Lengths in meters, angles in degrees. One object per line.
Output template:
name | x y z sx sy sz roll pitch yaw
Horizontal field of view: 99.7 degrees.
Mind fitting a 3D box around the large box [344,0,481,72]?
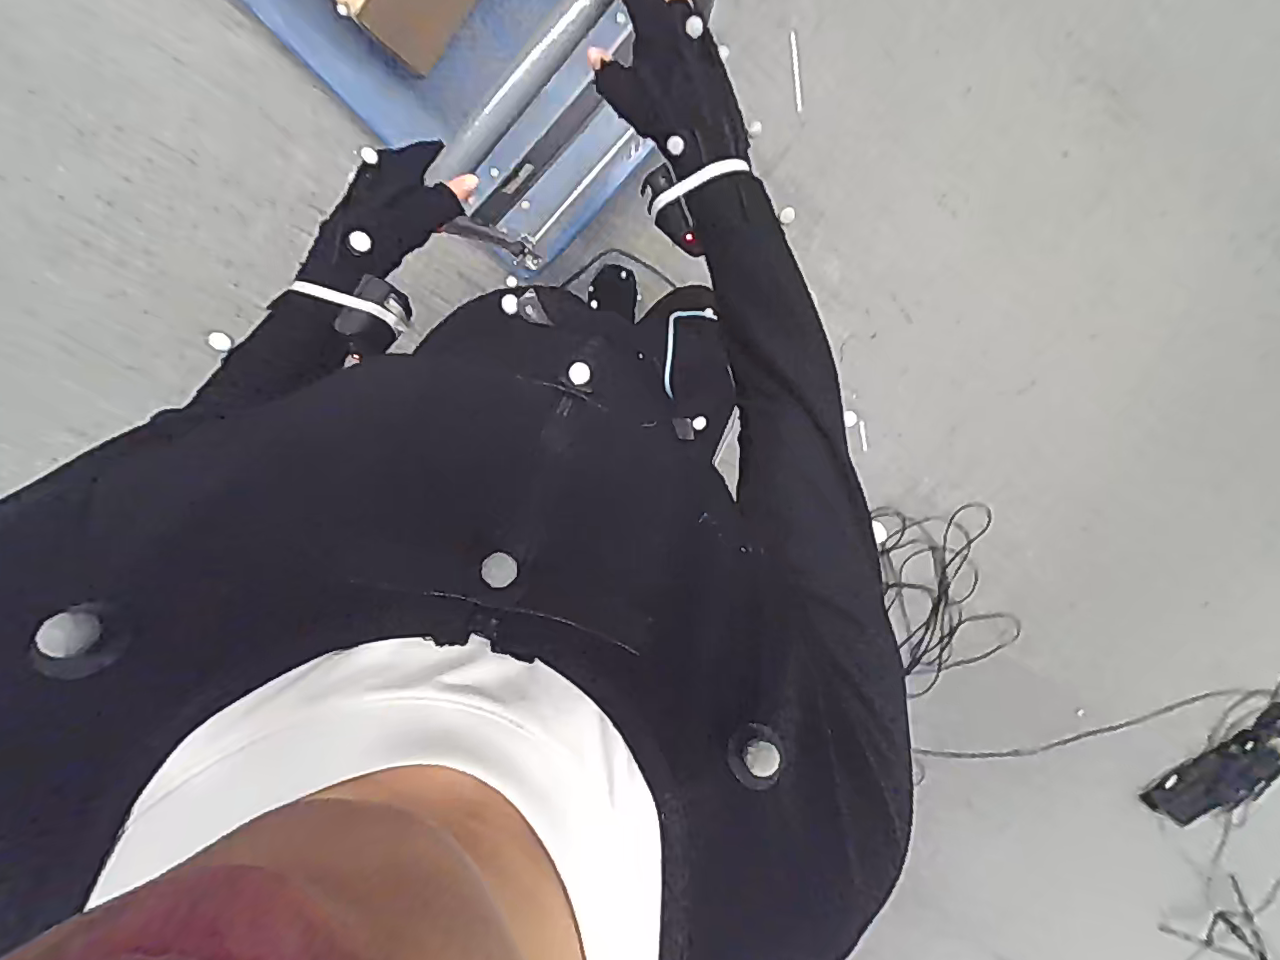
large box | -0.354 -0.915 0.768 0.320 0.320 0.408 41 107 -17
